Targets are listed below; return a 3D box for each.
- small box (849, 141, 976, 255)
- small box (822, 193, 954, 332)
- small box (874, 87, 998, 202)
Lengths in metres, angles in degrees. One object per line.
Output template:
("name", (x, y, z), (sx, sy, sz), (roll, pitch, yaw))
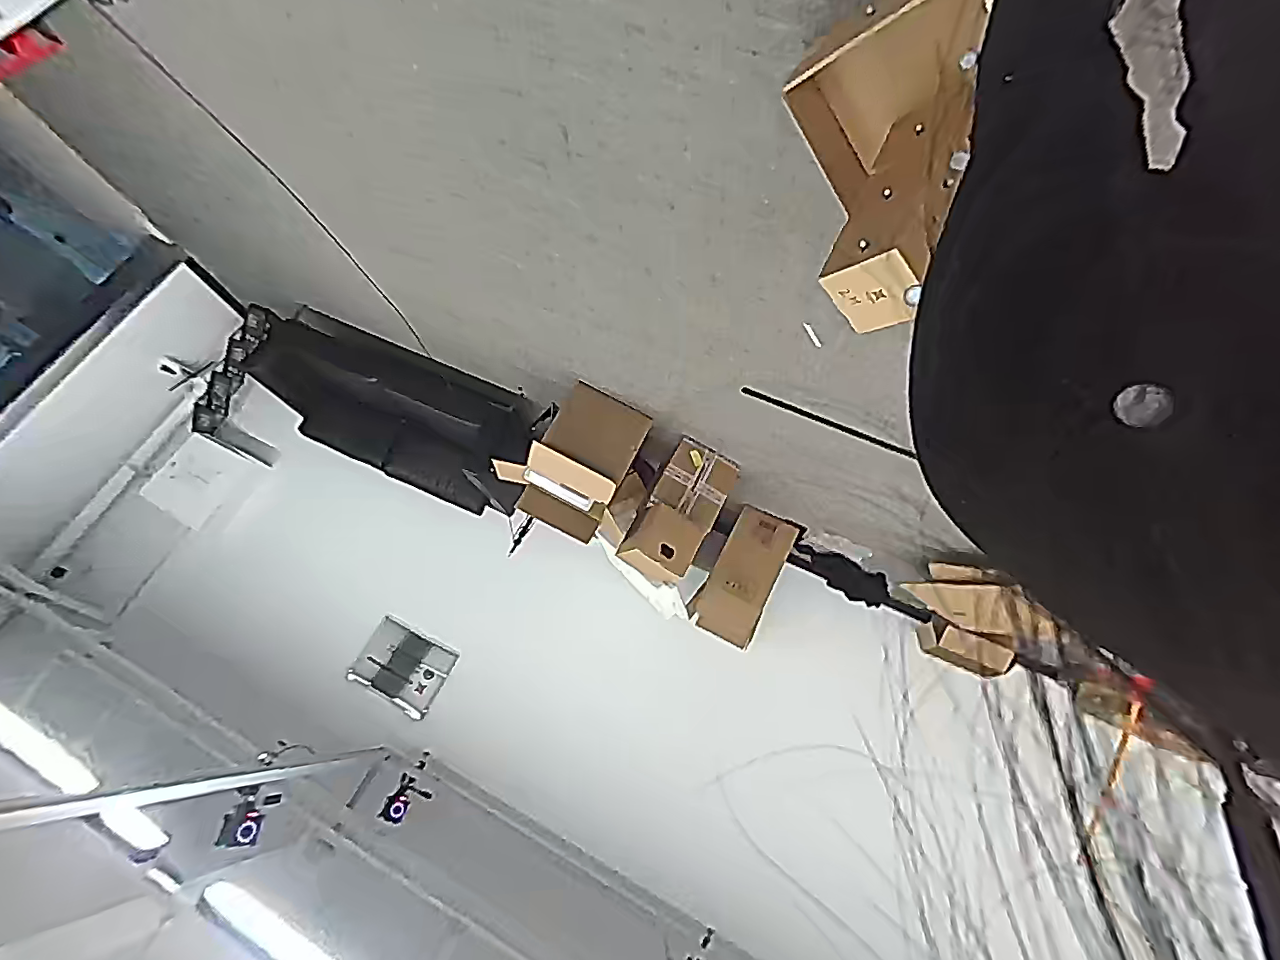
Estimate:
("small box", (0.588, -0.572, 1.153), (0.168, 0.176, 0.179), (40, 160, -27))
("small box", (0.510, -0.437, 1.096), (0.168, 0.176, 0.179), (40, 158, -26))
("small box", (0.658, -0.711, 1.199), (0.168, 0.176, 0.179), (40, 158, -31))
